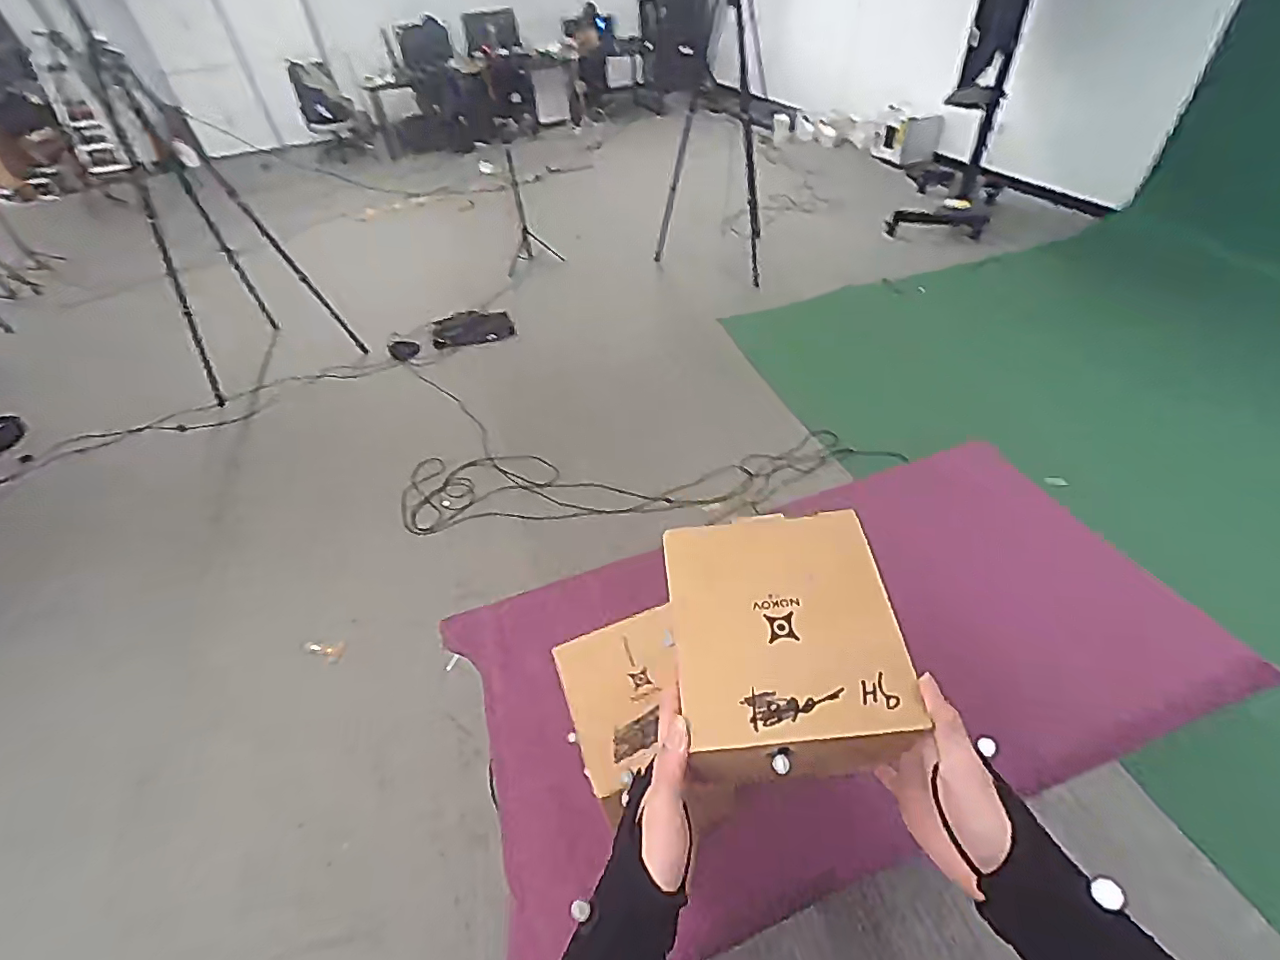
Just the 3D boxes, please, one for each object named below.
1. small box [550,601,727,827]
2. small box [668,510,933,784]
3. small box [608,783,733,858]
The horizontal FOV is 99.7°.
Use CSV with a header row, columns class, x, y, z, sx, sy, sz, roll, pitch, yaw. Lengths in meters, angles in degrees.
class,x,y,z,sx,sy,sz,roll,pitch,yaw
small box,0.006,0.285,0.650,0.168,0.176,0.179,-19,44,-11
small box,0.115,0.149,0.470,0.168,0.176,0.179,-7,53,4
small box,0.017,0.396,0.770,0.168,0.176,0.179,-19,46,-11
